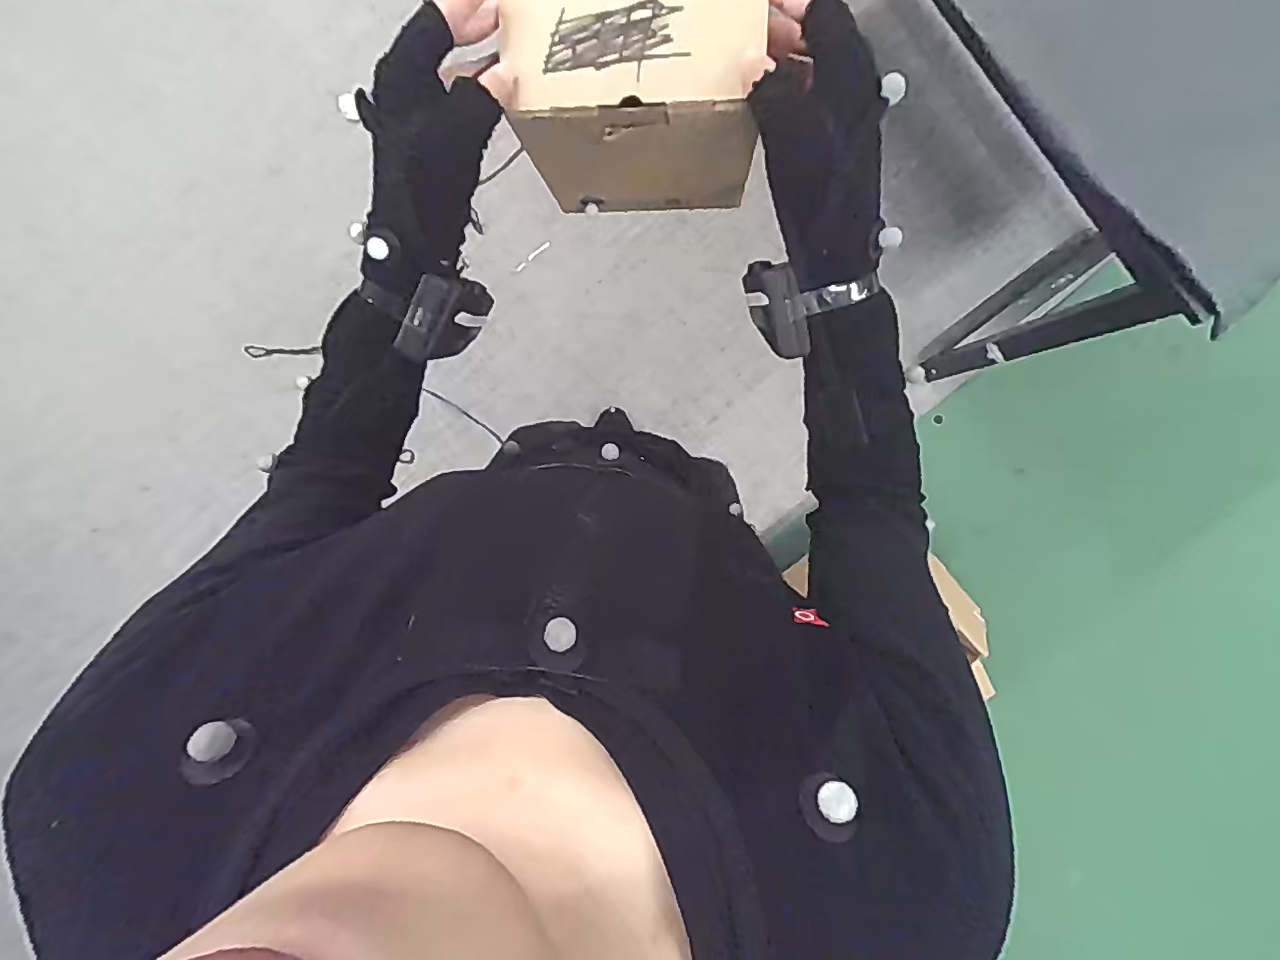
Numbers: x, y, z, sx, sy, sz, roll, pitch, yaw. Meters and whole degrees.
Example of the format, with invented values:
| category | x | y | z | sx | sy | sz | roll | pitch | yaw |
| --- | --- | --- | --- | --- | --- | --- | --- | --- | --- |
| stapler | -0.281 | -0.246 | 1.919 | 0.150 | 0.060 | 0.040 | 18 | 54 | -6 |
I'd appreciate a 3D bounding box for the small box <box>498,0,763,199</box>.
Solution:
| category | x | y | z | sx | sy | sz | roll | pitch | yaw |
| --- | --- | --- | --- | --- | --- | --- | --- | --- | --- |
| small box | 0.001 | -0.327 | 0.403 | 0.168 | 0.176 | 0.179 | 0 | 96 | 5 |
